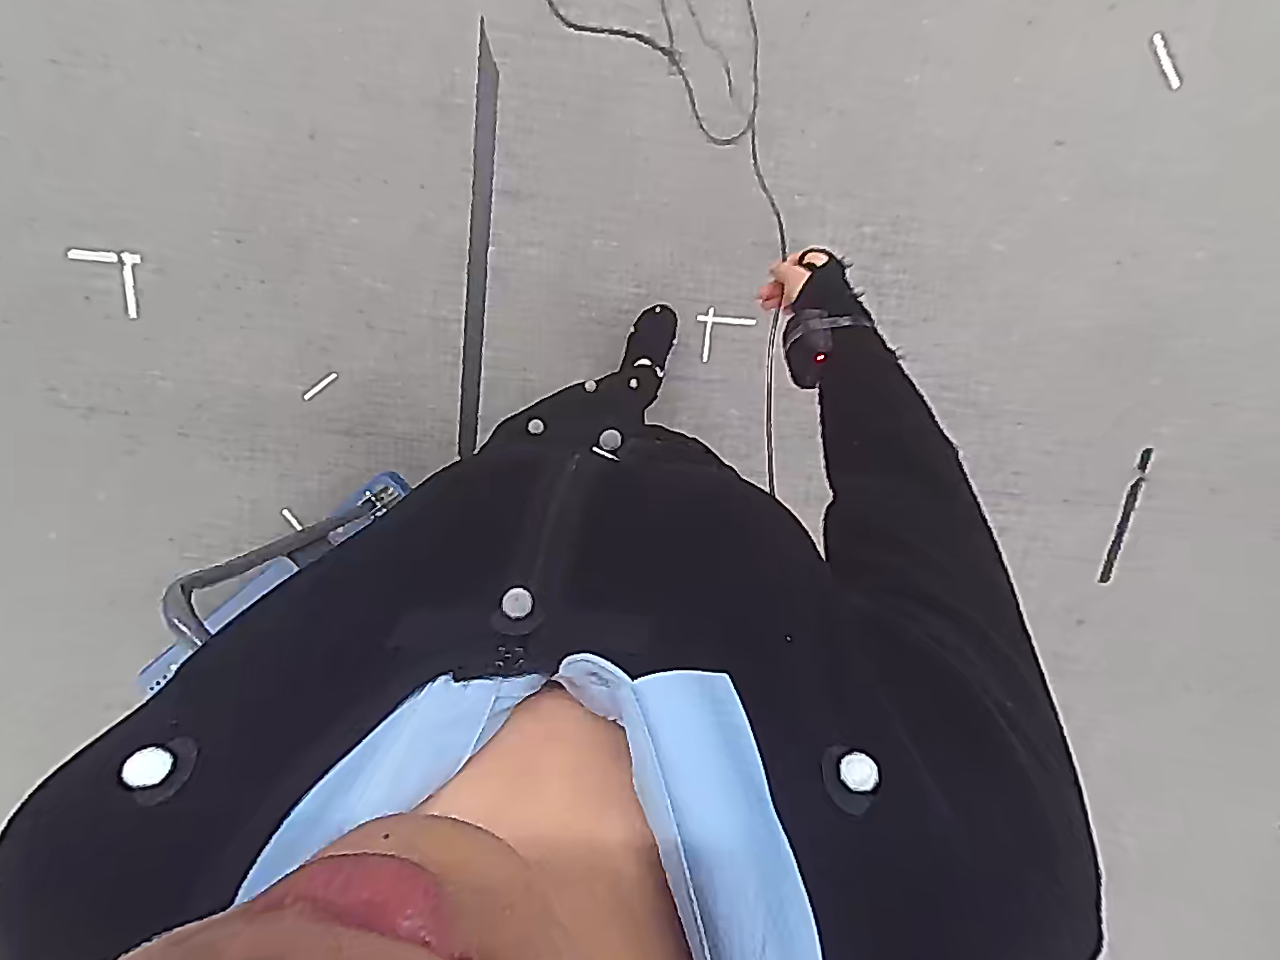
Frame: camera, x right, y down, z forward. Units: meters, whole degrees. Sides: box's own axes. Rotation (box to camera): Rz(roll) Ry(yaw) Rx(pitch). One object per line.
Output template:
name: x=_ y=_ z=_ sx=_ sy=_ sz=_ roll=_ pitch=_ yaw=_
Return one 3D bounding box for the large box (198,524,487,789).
large box: x=-0.622 y=0.370 z=1.212 sx=0.320 sy=0.320 sz=0.408 roll=-38 pitch=99 yaw=5
